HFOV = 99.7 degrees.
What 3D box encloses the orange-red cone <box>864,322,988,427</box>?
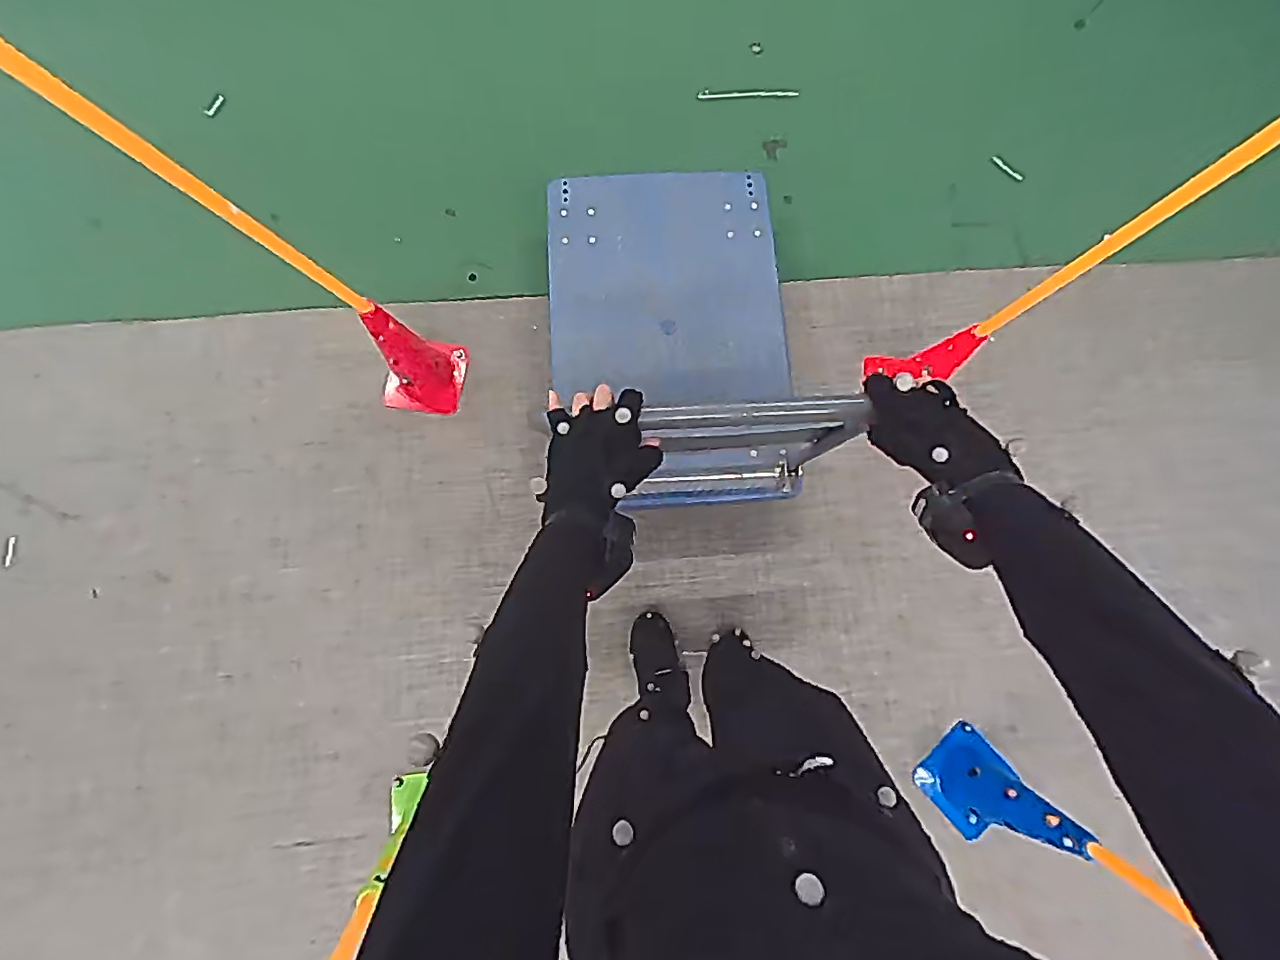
[{"bbox_3d":[0.717,-0.280,1.312,0.198,0.360,0.199,7,79,1],"label":"orange-red cone"}]
